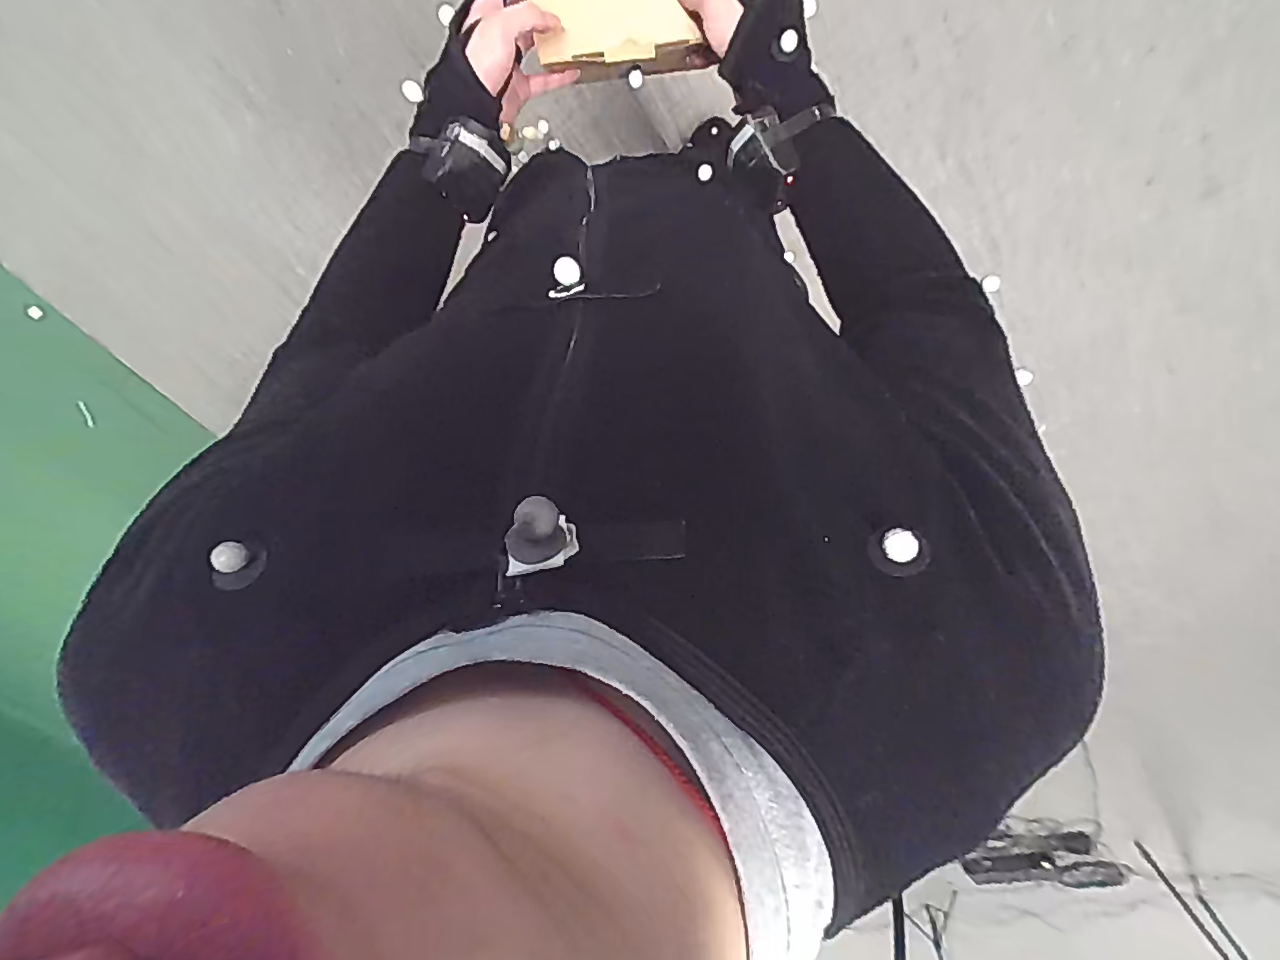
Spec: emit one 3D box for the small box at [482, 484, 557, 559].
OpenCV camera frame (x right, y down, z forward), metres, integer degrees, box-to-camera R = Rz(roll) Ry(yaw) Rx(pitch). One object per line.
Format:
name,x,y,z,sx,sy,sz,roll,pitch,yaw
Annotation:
small box,-0.411,0.140,1.892,0.179,0.176,0.168,-25,117,27

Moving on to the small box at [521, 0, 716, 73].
small box,-0.016,-0.486,0.487,0.168,0.176,0.179,-2,121,6
